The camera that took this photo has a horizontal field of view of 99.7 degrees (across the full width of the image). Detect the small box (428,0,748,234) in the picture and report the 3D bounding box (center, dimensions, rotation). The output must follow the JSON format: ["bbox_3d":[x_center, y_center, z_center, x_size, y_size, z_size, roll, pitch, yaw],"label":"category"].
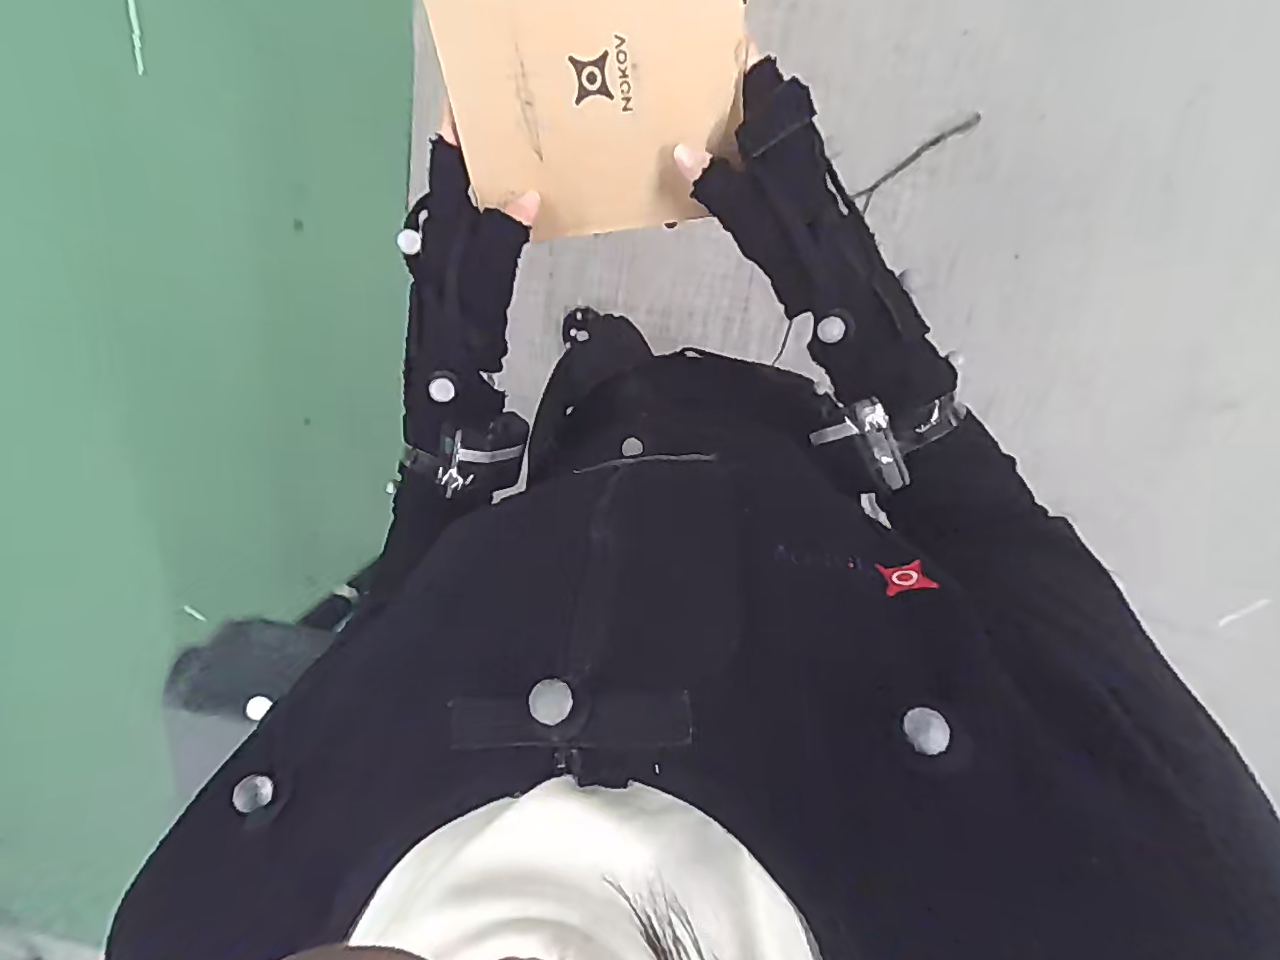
[{"bbox_3d":[-0.030,-0.283,0.377,0.179,0.176,0.168,-7,123,1],"label":"small box"}]
